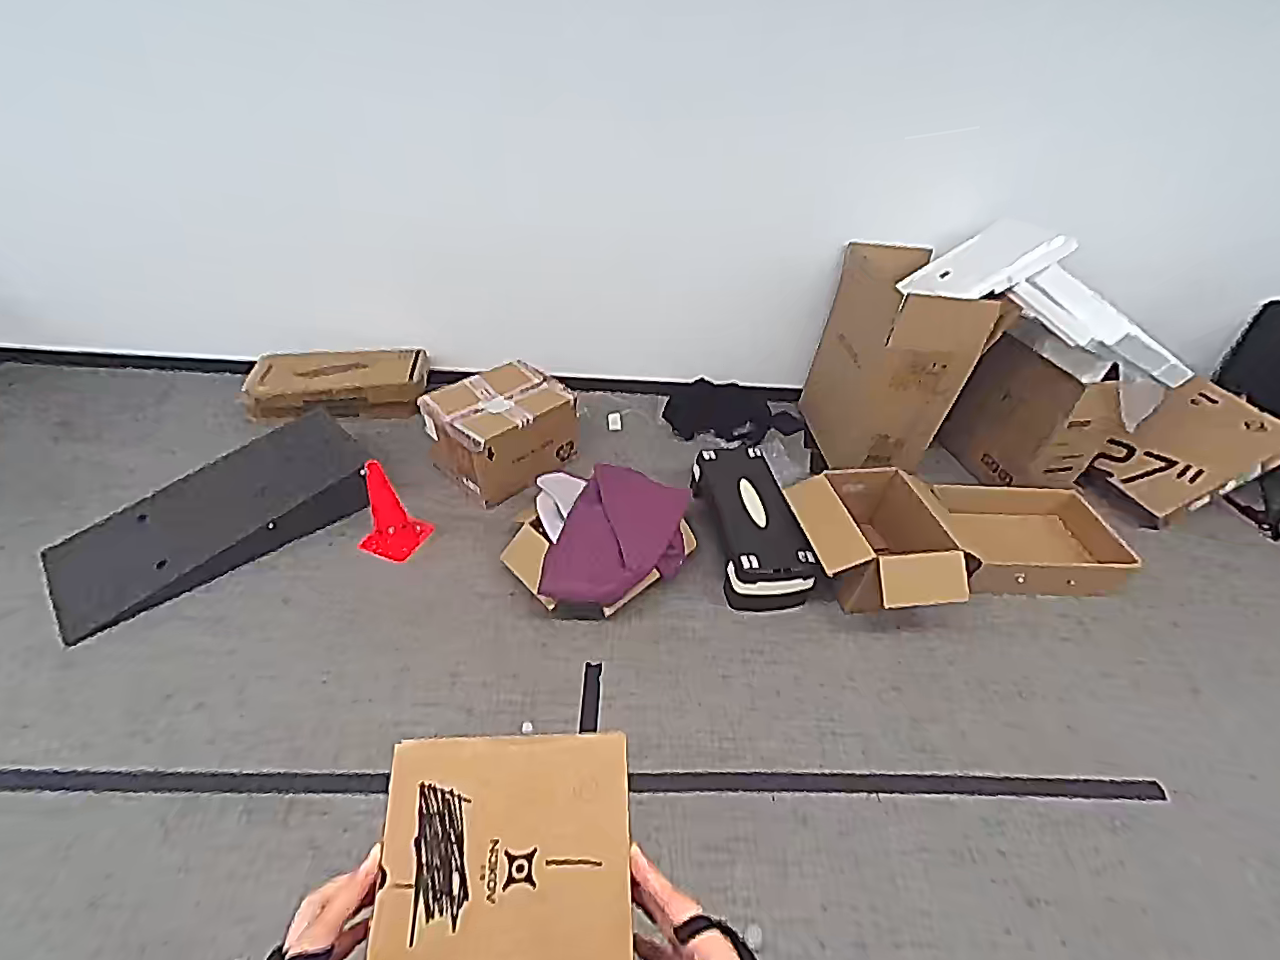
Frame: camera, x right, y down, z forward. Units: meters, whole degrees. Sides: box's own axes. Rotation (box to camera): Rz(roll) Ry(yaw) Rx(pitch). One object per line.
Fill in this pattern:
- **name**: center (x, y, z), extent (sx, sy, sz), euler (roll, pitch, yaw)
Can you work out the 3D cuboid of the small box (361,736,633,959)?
- **small box**: center (-0.105, 0.308, 0.441), extent (0.179, 0.176, 0.168), euler (3, 60, -10)
